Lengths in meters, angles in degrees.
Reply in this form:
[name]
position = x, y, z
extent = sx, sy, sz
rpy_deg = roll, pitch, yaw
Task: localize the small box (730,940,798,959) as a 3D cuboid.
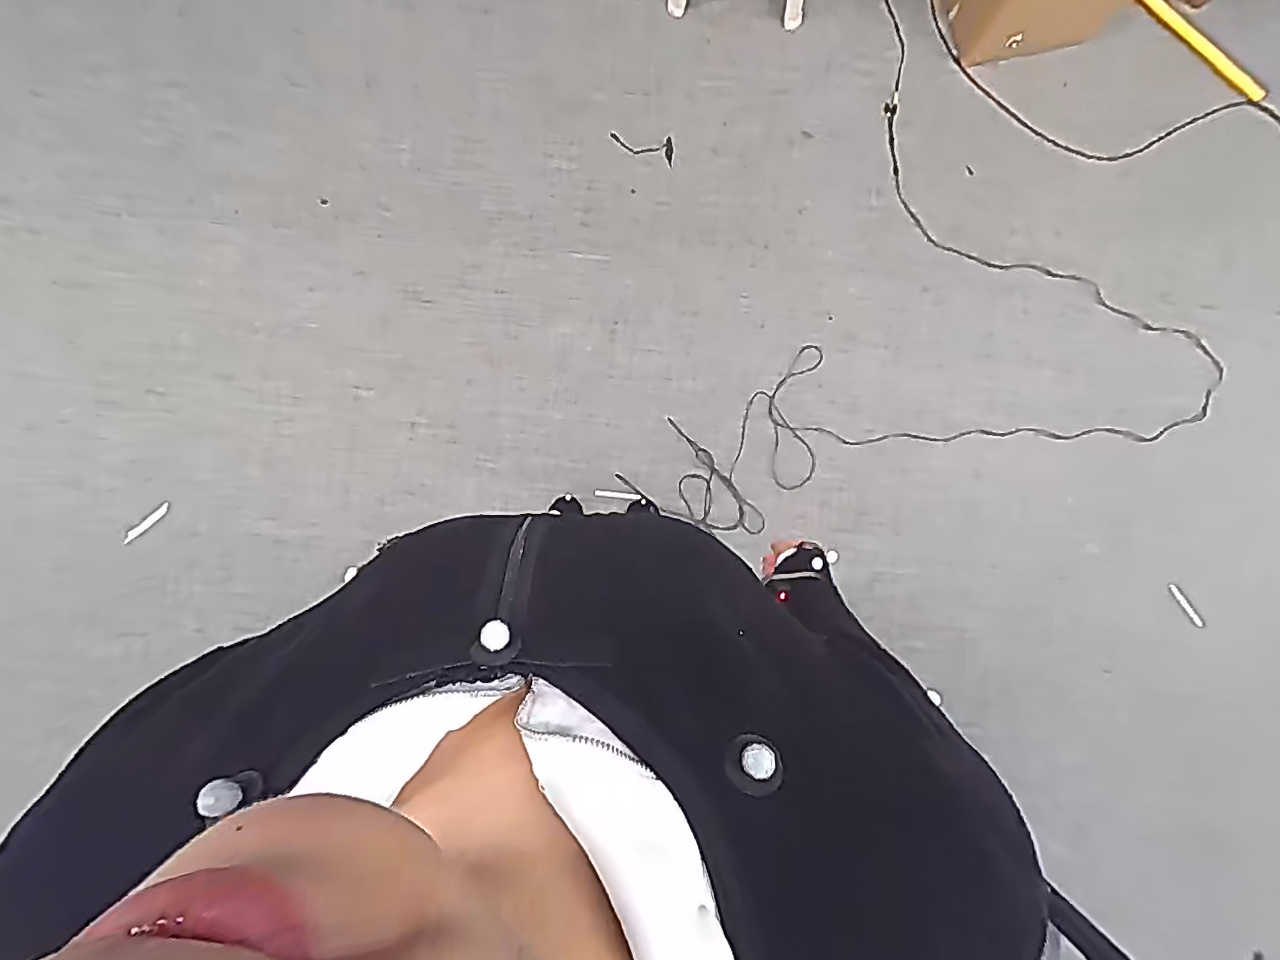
[small box]
position = 0.328, 1.332, 1.386
extent = 0.179, 0.176, 0.168
rpy_deg = 4, 87, 1
